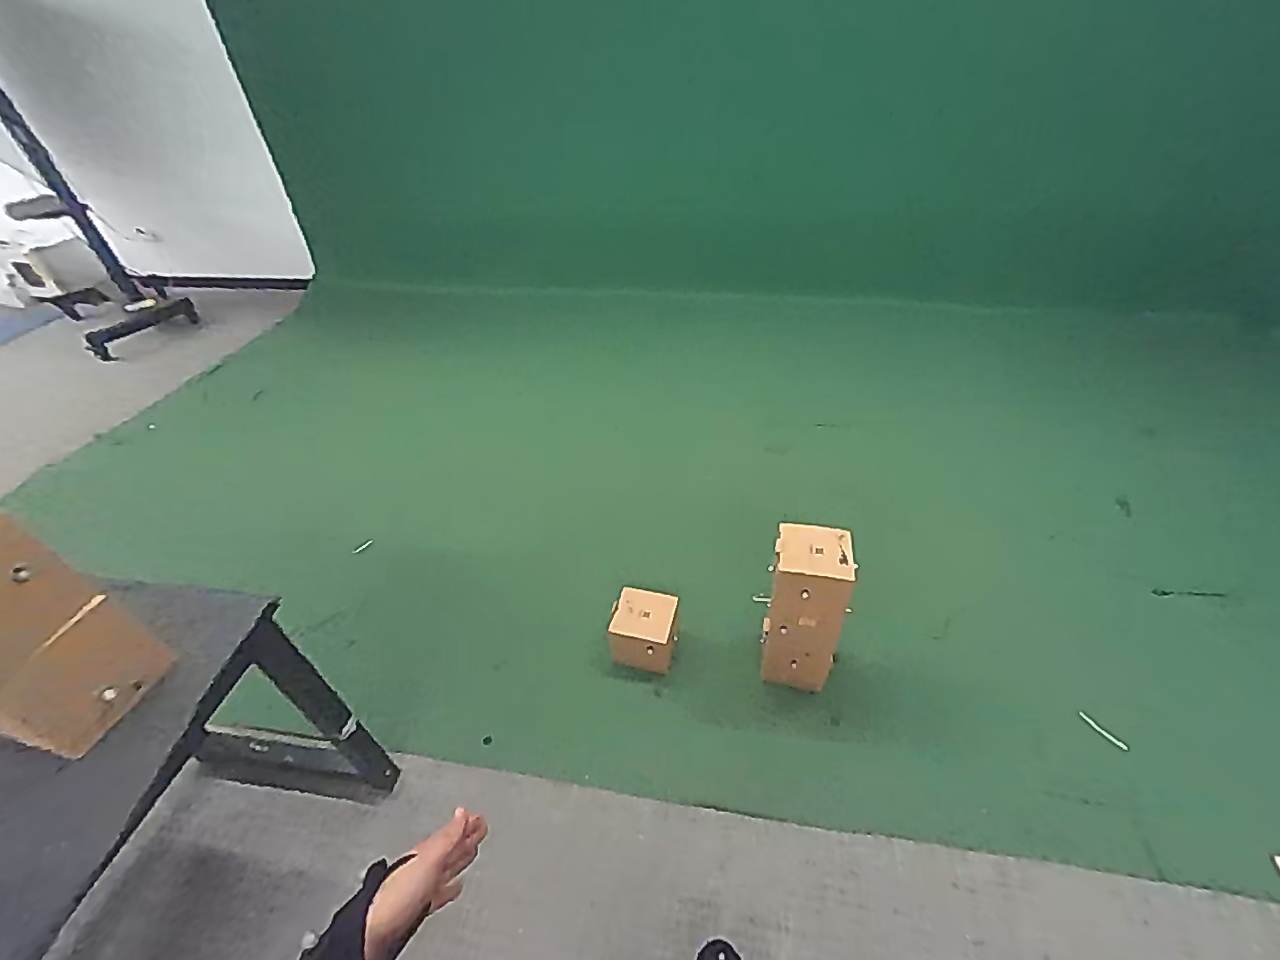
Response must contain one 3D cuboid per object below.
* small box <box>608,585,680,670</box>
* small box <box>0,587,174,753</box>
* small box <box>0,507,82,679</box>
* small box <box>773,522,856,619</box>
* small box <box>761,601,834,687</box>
[{"bbox_3d":[0.017,0.447,1.627,0.179,0.176,0.168,9,42,13],"label":"small box"},{"bbox_3d":[-0.844,0.263,0.772,0.179,0.176,0.168,7,43,14],"label":"small box"},{"bbox_3d":[-0.858,0.147,0.658,0.168,0.176,0.179,0,42,9],"label":"small box"},{"bbox_3d":[0.430,0.228,1.357,0.179,0.176,0.168,6,41,11],"label":"small box"},{"bbox_3d":[0.455,0.478,1.569,0.179,0.176,0.168,7,42,12],"label":"small box"}]
